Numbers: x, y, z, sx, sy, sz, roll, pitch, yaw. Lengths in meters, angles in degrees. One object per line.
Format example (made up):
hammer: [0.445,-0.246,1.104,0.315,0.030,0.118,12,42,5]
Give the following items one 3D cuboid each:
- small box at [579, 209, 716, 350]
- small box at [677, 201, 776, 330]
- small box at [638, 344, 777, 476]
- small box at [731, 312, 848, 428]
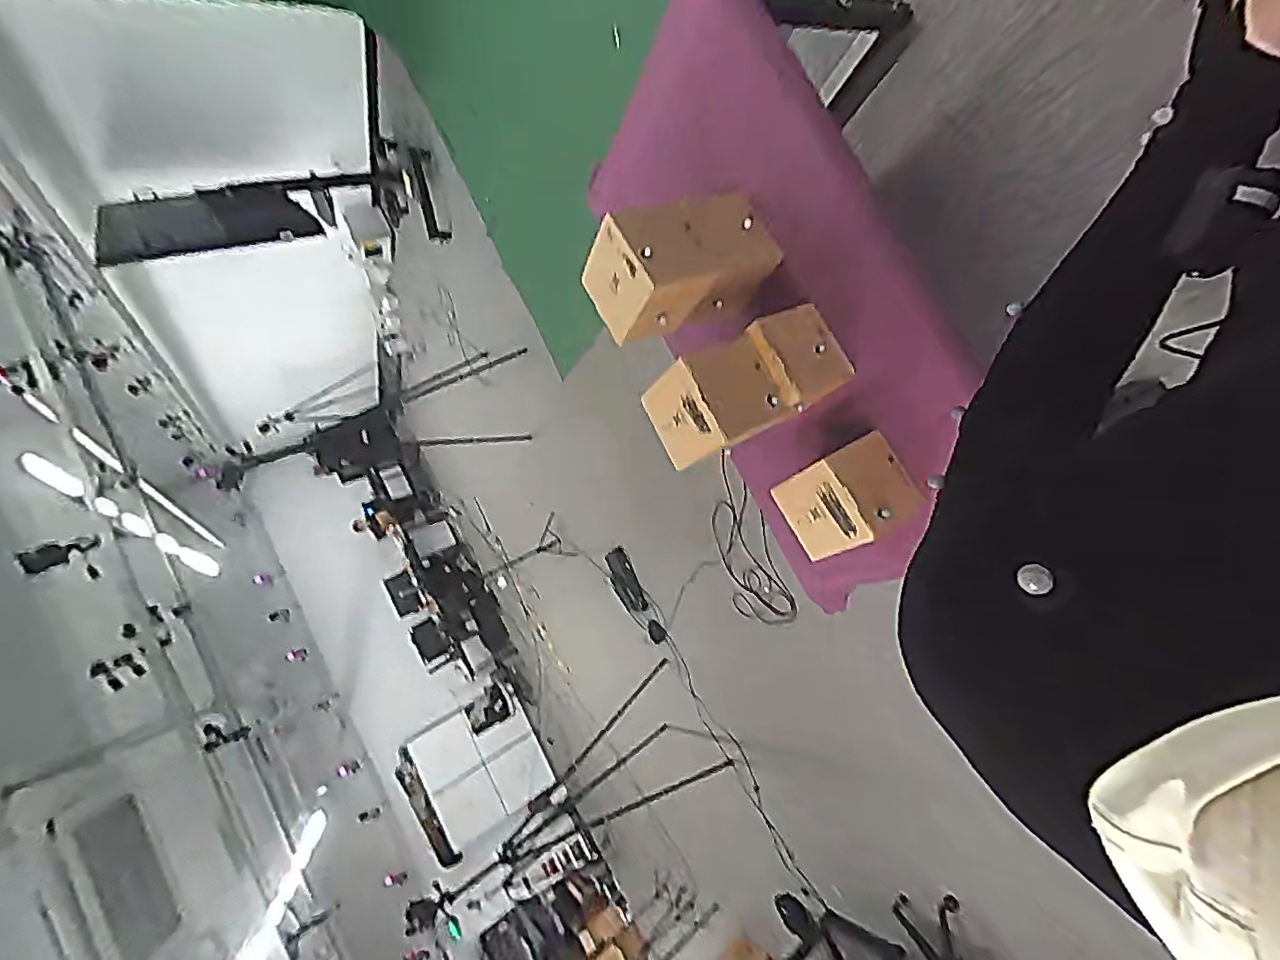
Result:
small box: [0.013,-0.379,1.022,0.168,0.176,0.179,59,150,9]
small box: [0.142,-0.437,1.104,0.168,0.176,0.179,60,149,9]
small box: [0.132,-0.132,1.016,0.168,0.176,0.179,63,150,4]
small box: [0.270,-0.207,1.074,0.168,0.176,0.179,61,149,8]
